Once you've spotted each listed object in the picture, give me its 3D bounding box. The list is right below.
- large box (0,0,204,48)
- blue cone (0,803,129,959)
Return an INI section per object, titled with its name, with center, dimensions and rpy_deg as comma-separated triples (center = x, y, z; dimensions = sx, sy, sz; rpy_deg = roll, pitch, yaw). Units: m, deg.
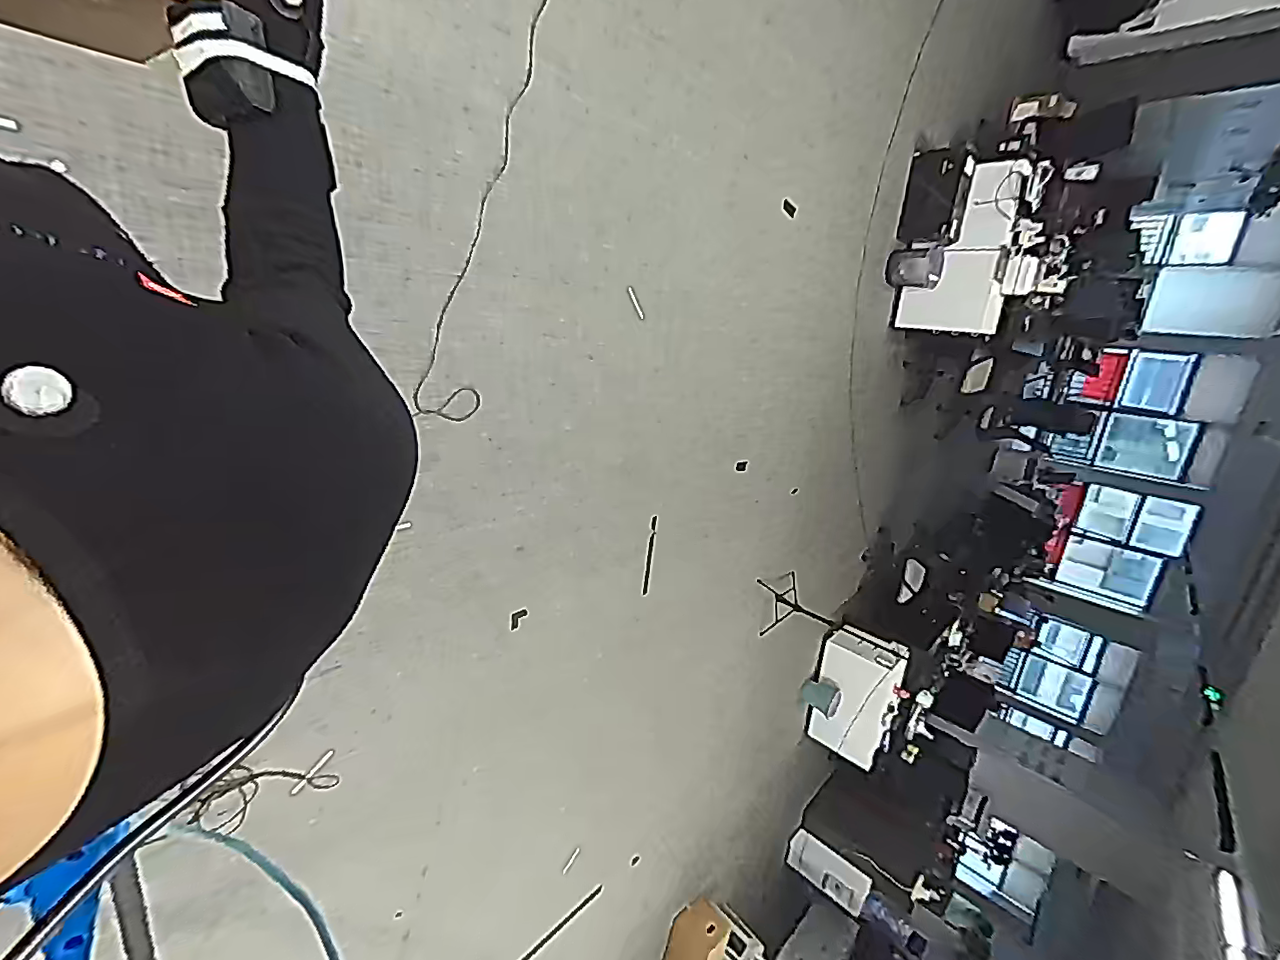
[large box]
center = -0.522, -0.499, 0.278
dimensions = 0.408, 0.320, 0.320
rpy_deg = -16, 122, -48
[blue cone]
center = -1.183, 0.876, 1.116
dimensions = 0.193, 0.380, 0.192
rpy_deg = 18, 92, -49
